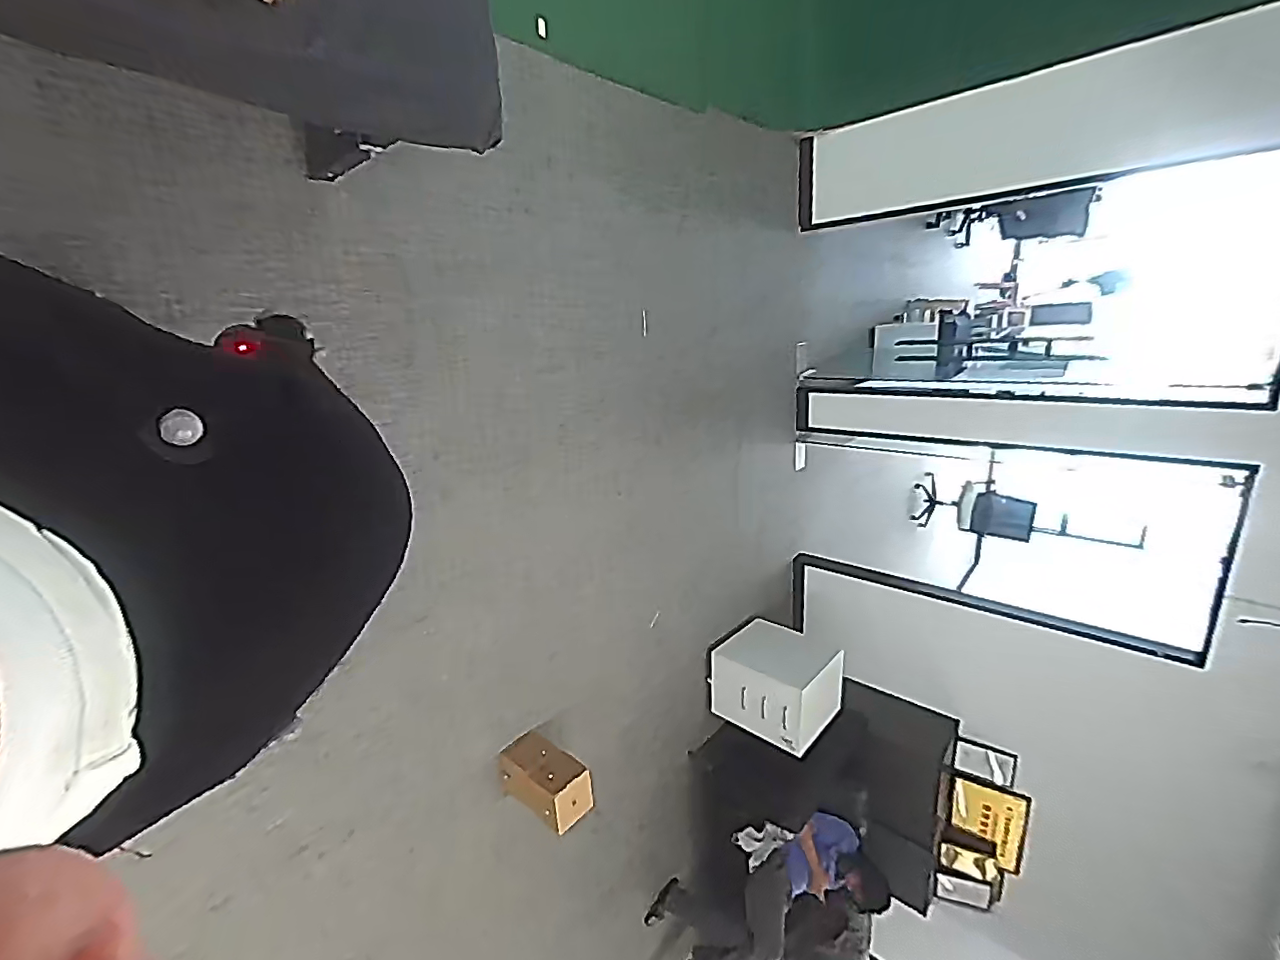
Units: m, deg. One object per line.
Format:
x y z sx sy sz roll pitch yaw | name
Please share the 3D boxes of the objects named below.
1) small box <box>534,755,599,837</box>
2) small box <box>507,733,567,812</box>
-0.274 1.146 1.986 0.168 0.176 0.179 -21 115 -44 | small box
-0.395 1.124 2.091 0.168 0.176 0.179 -19 112 -46 | small box
